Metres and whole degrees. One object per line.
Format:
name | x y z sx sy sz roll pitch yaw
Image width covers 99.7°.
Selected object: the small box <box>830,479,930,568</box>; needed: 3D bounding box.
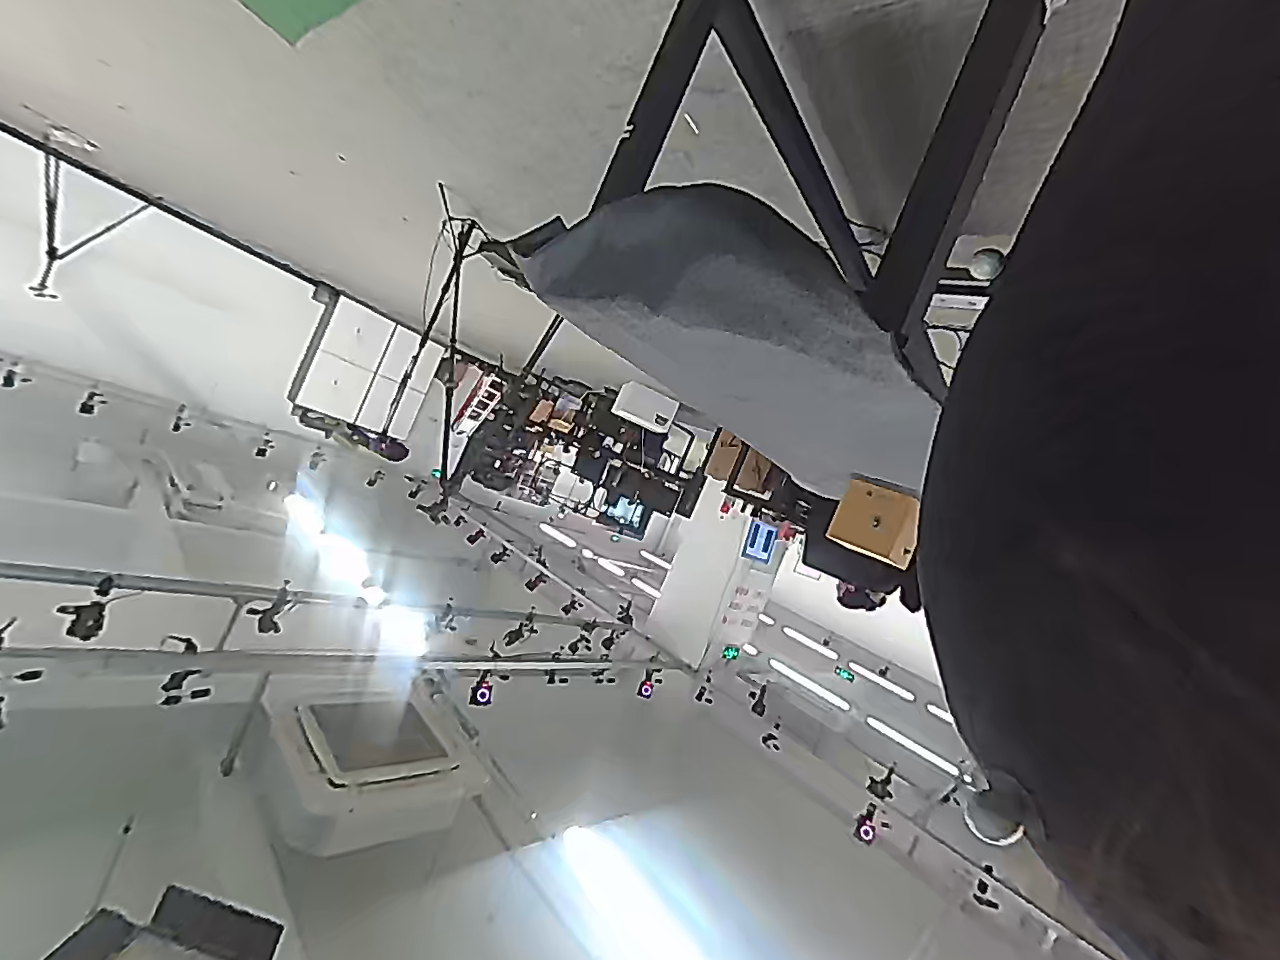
small box | 0.624 0.110 1.400 0.168 0.176 0.179 22 180 42
